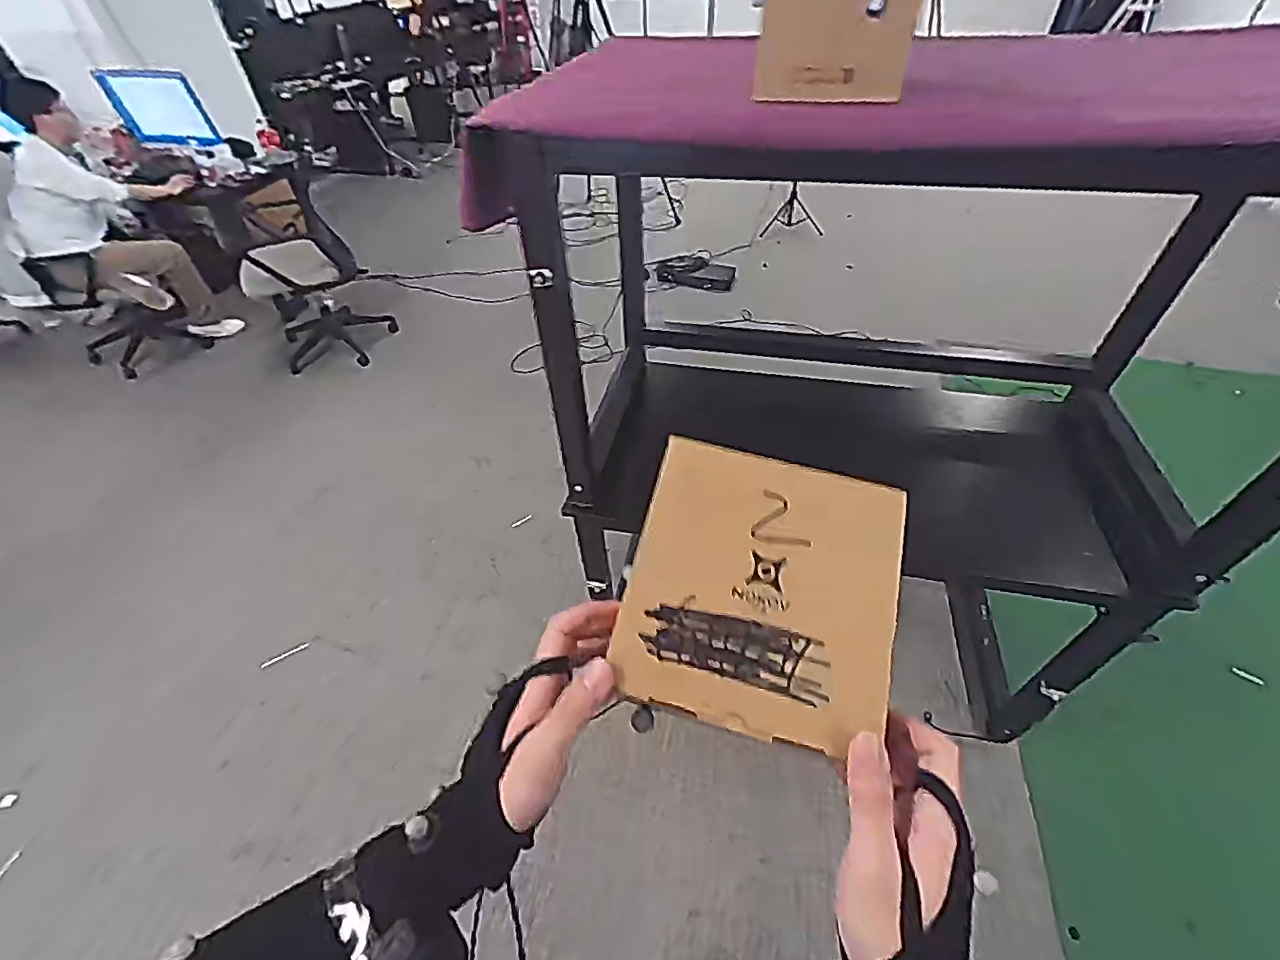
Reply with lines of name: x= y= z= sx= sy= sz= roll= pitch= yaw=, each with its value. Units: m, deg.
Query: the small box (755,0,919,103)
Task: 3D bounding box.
small box: x=0.233 y=-0.559 z=0.636 sx=0.168 sy=0.176 sz=0.179 roll=10 pitch=45 yaw=11
